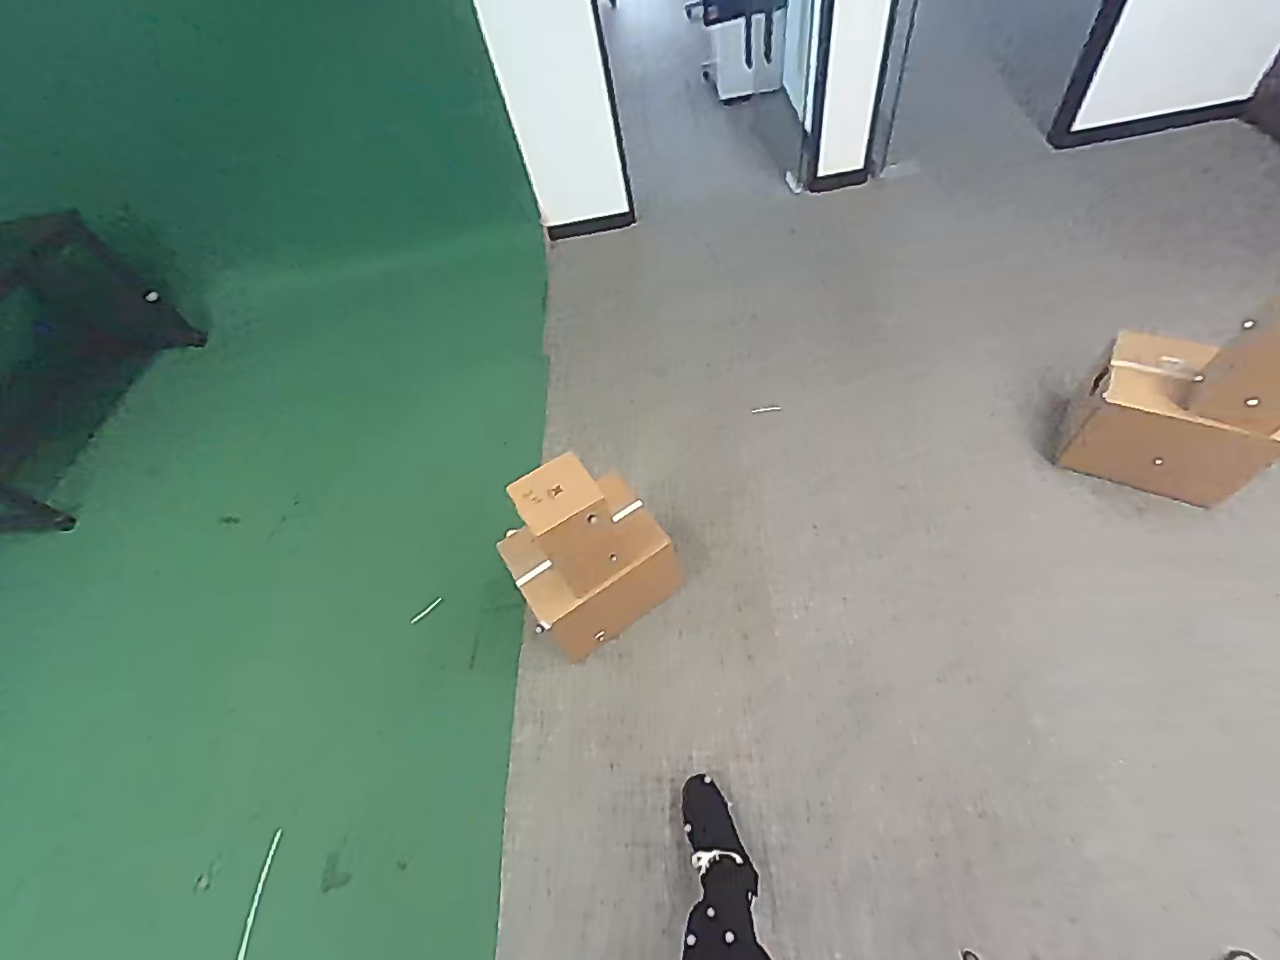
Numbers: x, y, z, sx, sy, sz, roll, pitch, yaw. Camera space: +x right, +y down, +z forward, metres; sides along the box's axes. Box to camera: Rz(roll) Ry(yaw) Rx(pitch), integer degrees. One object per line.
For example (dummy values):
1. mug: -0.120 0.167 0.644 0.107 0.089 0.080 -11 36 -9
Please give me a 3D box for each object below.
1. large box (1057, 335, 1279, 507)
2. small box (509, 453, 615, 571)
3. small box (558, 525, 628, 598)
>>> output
1. large box: 1.540 -0.174 1.582 0.408 0.320 0.320 20 61 24
2. small box: -0.170 0.076 1.244 0.179 0.176 0.168 -31 55 -11
3. small box: -0.144 0.167 1.378 0.179 0.176 0.168 -33 56 -11
